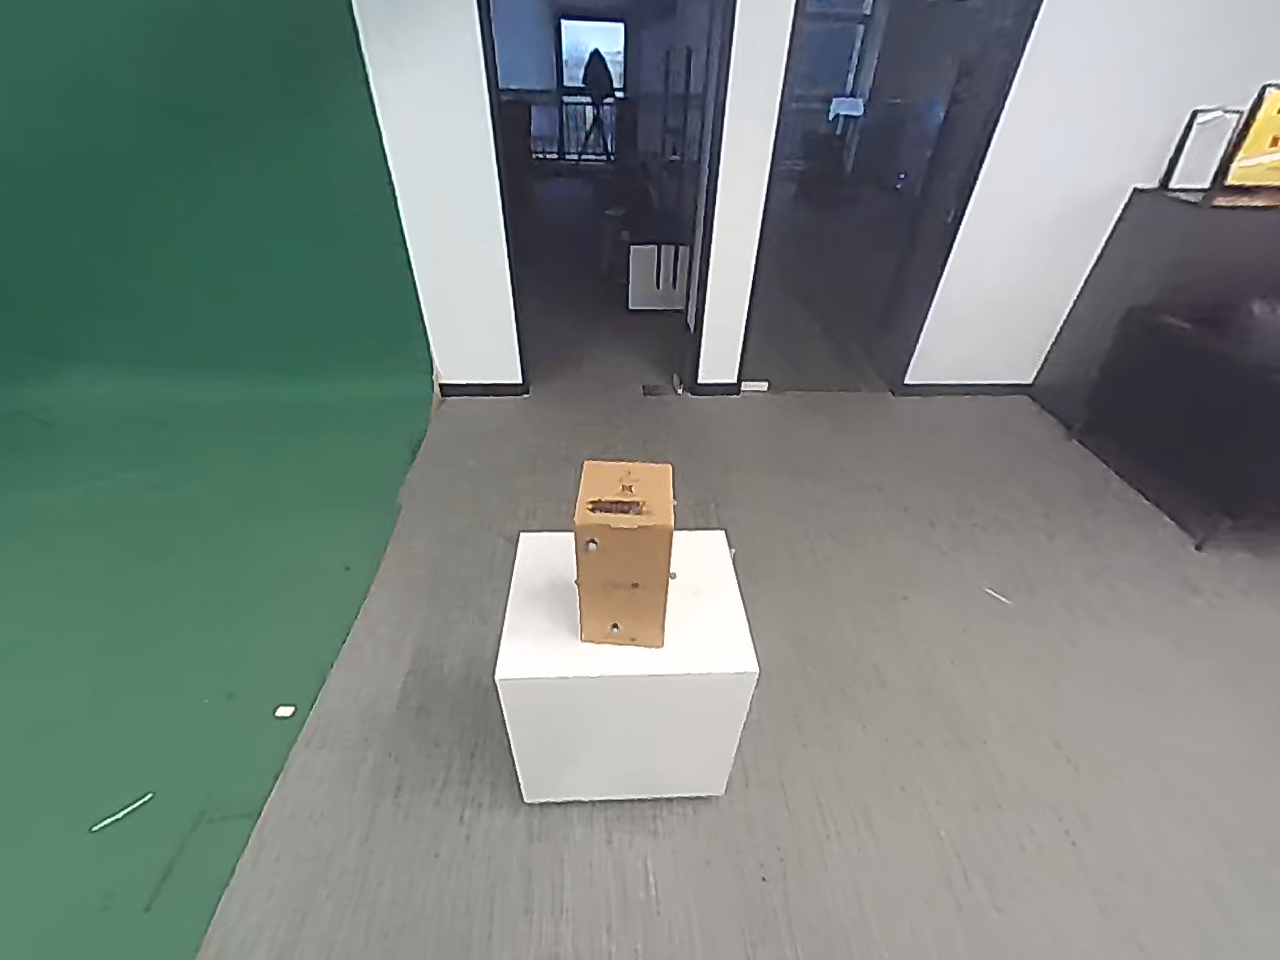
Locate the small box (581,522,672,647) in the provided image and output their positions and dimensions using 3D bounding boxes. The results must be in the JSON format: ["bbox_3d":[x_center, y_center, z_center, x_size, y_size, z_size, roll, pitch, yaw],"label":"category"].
[{"bbox_3d":[-0.025,0.209,1.093,0.168,0.176,0.179,3,38,1],"label":"small box"}]
